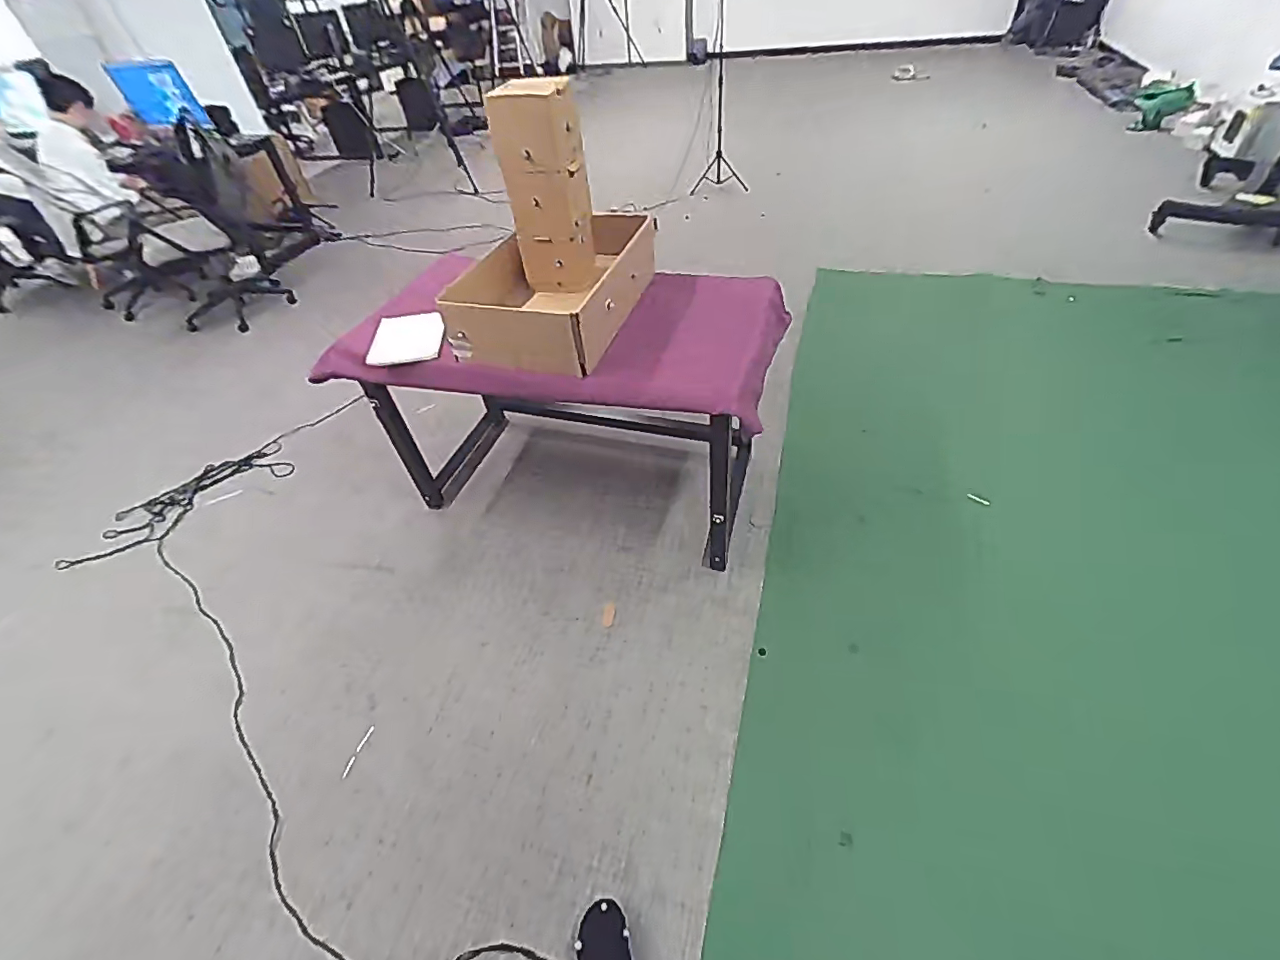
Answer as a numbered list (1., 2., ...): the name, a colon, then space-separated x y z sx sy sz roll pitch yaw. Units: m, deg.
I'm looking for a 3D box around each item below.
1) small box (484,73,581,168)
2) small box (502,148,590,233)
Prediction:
1. small box: -0.264 -0.916 1.381 0.179 0.176 0.168 11 48 14
2. small box: -0.249 -0.800 1.497 0.179 0.176 0.168 8 48 14
